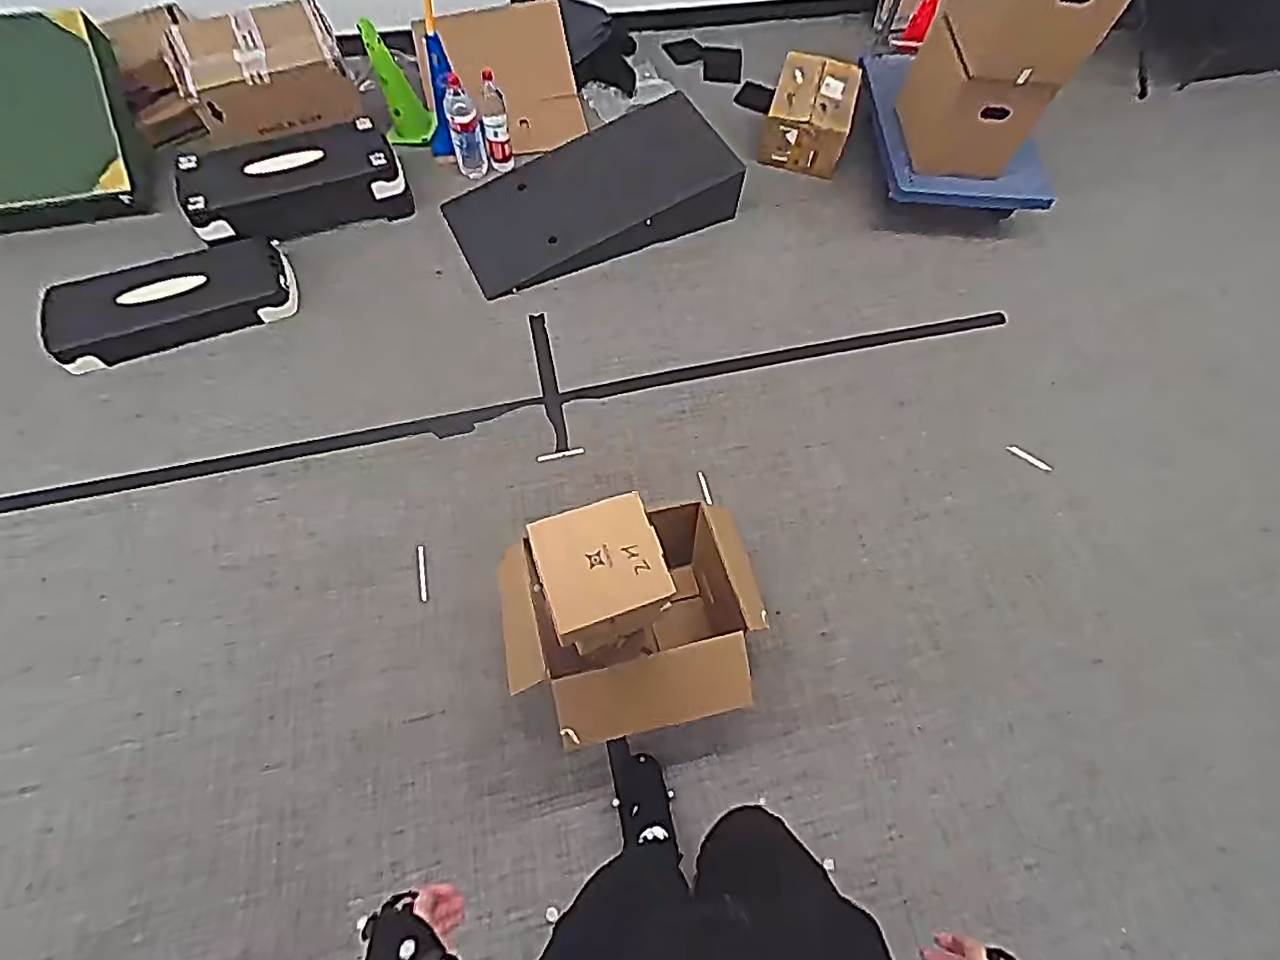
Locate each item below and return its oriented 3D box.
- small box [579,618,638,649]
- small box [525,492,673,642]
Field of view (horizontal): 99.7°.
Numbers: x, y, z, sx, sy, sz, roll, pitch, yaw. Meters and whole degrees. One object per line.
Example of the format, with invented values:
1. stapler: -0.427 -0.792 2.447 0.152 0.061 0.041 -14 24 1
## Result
1. small box: -0.082 0.242 1.156 0.179 0.176 0.168 -30 74 -19
2. small box: -0.067 0.142 0.841 0.179 0.176 0.168 -17 72 -14
